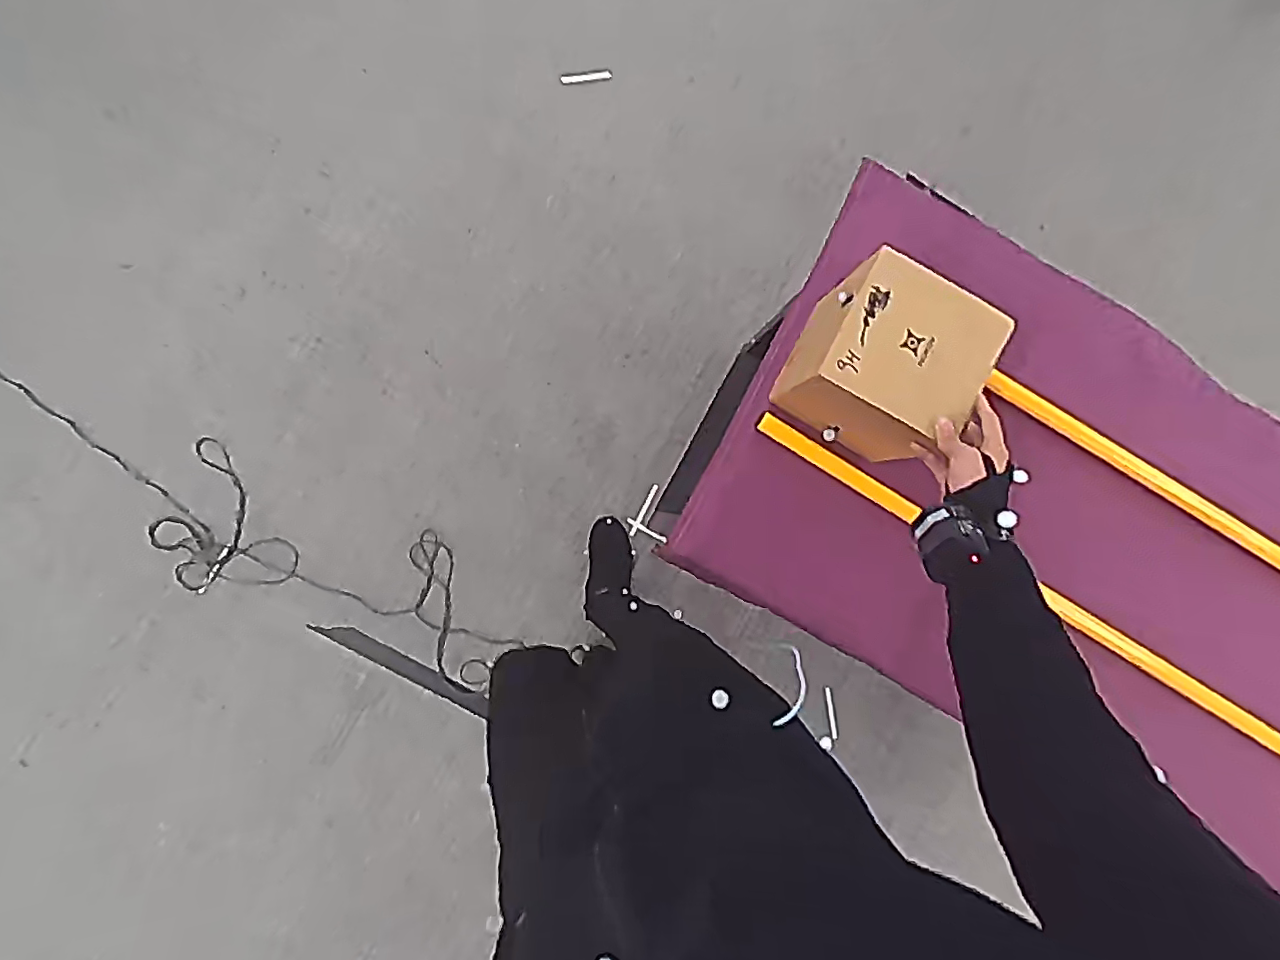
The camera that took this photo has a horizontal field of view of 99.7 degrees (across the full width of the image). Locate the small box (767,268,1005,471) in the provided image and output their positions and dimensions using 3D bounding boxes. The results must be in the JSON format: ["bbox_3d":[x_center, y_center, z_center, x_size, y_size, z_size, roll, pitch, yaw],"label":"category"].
[{"bbox_3d":[0.290,-0.123,0.675,0.179,0.176,0.168,29,86,-4],"label":"small box"}]
